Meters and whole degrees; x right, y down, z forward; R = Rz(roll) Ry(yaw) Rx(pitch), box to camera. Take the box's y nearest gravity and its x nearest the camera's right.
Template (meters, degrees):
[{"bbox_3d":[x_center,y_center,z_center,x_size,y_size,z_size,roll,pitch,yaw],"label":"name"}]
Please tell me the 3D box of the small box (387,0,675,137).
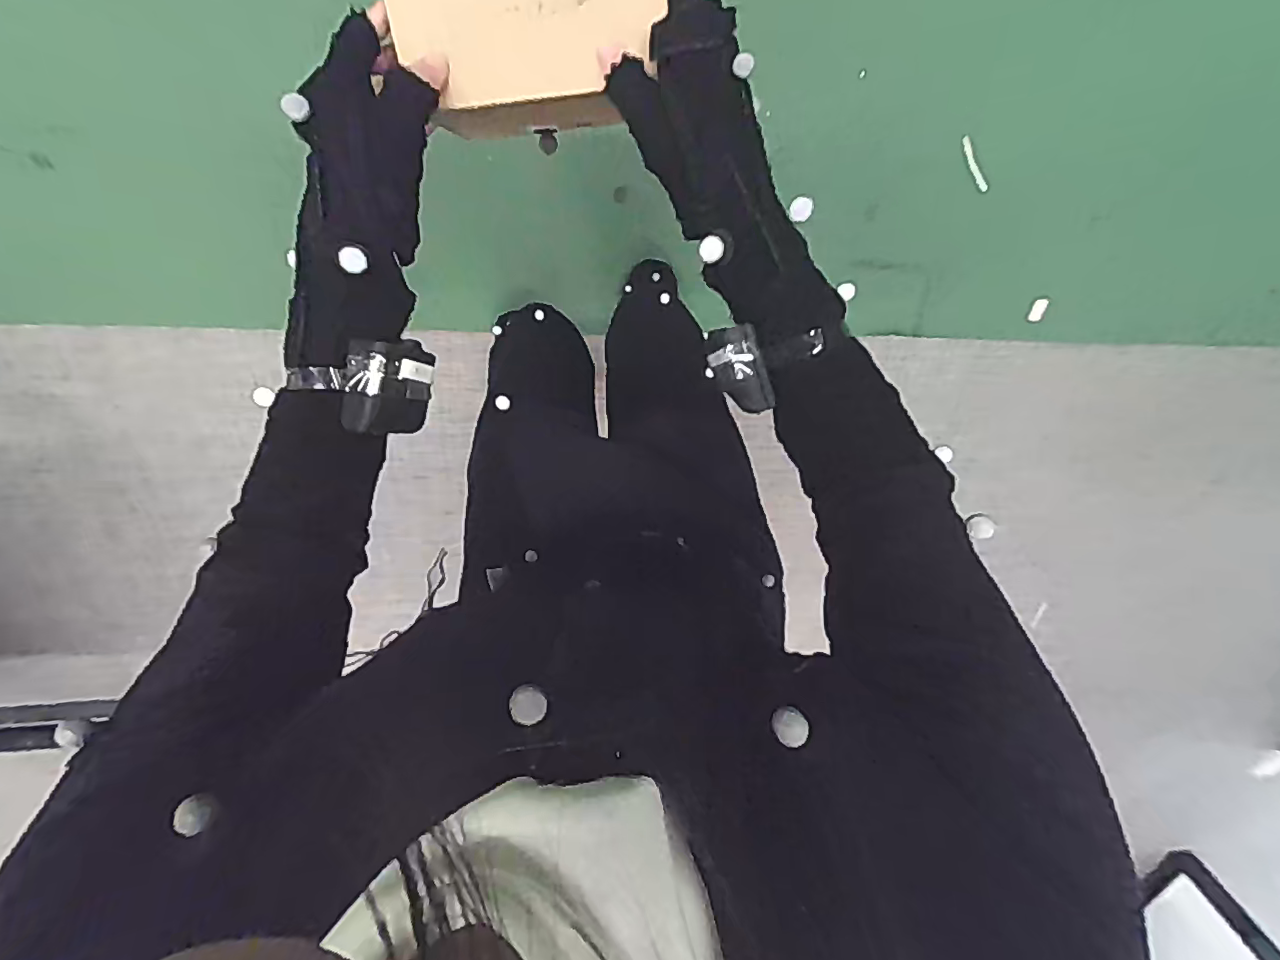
[{"bbox_3d":[-0.071,-0.349,0.364,0.168,0.176,0.179,-7,119,2],"label":"small box"}]
